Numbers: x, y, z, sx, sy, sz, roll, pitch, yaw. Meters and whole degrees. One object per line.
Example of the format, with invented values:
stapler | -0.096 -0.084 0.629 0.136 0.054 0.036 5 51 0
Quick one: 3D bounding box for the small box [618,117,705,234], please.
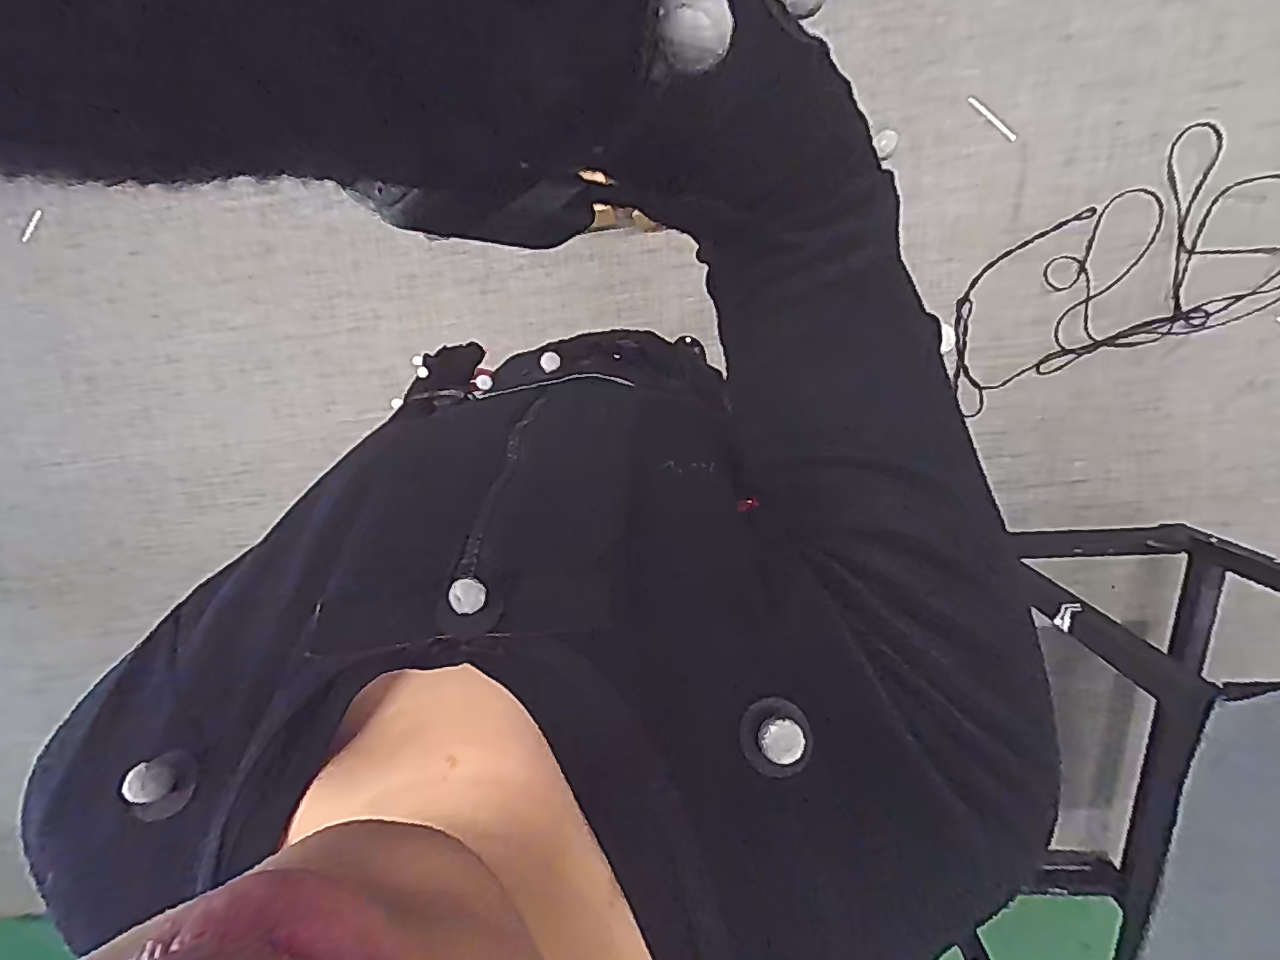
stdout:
small box | 0.051 -0.677 1.221 0.168 0.176 0.179 -9 105 7
